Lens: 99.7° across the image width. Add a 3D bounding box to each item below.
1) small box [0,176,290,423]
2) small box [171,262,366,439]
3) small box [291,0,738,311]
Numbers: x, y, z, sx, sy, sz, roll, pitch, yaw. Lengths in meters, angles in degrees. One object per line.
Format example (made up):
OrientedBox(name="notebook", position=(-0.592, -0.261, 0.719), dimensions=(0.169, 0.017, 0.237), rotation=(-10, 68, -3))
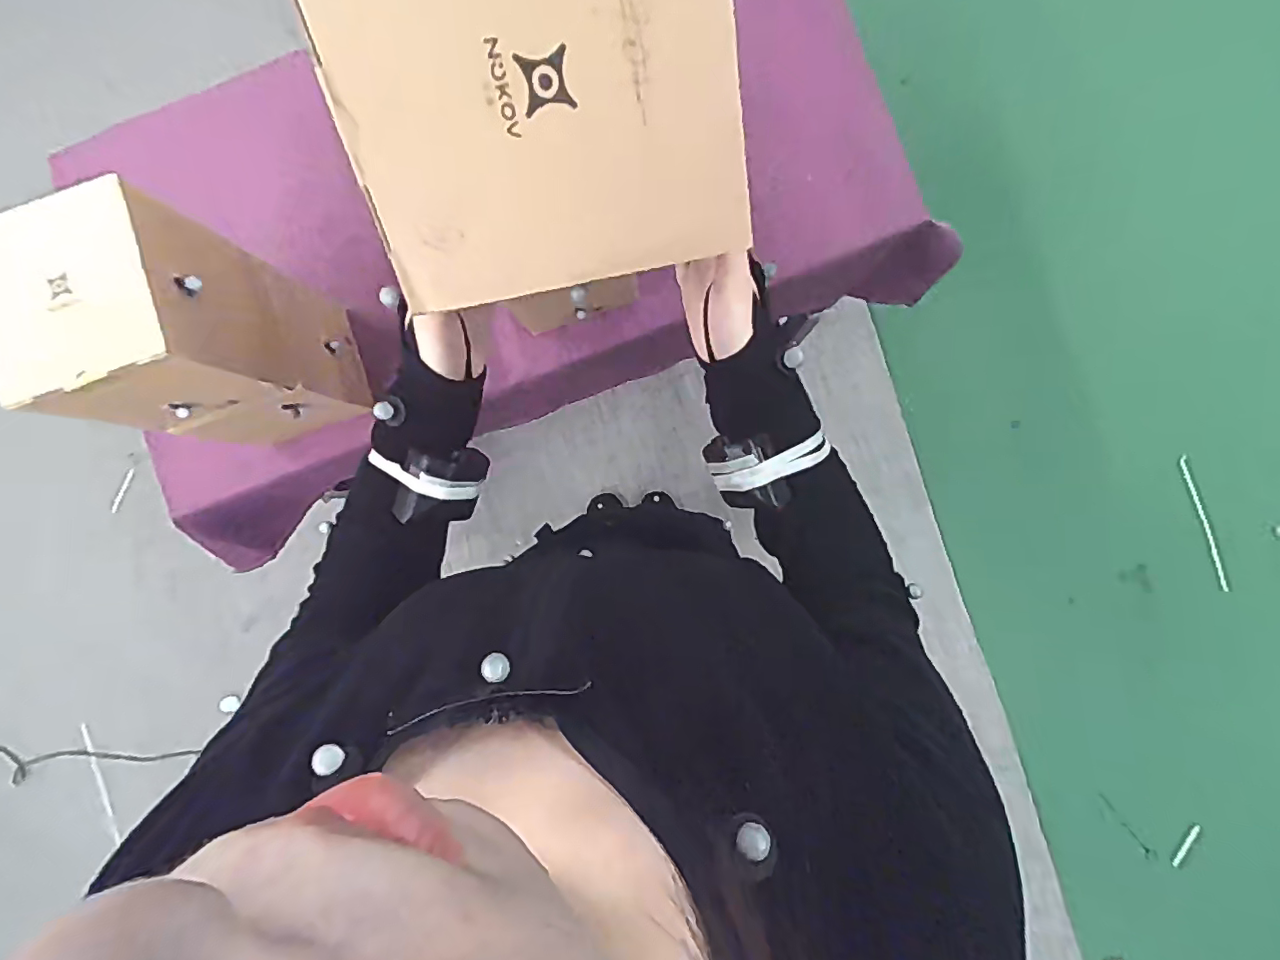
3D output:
OrientedBox(name="small box", position=(-0.520, -0.173, 0.574), dimensions=(0.168, 0.176, 0.179), rotation=(-18, 89, 3))
OrientedBox(name="small box", position=(-0.505, -0.163, 0.737), dimensions=(0.179, 0.176, 0.168), rotation=(-18, 88, 3))
OrientedBox(name="small box", position=(-0.053, -0.206, 0.305), dimensions=(0.179, 0.176, 0.168), rotation=(-10, 119, 1))
